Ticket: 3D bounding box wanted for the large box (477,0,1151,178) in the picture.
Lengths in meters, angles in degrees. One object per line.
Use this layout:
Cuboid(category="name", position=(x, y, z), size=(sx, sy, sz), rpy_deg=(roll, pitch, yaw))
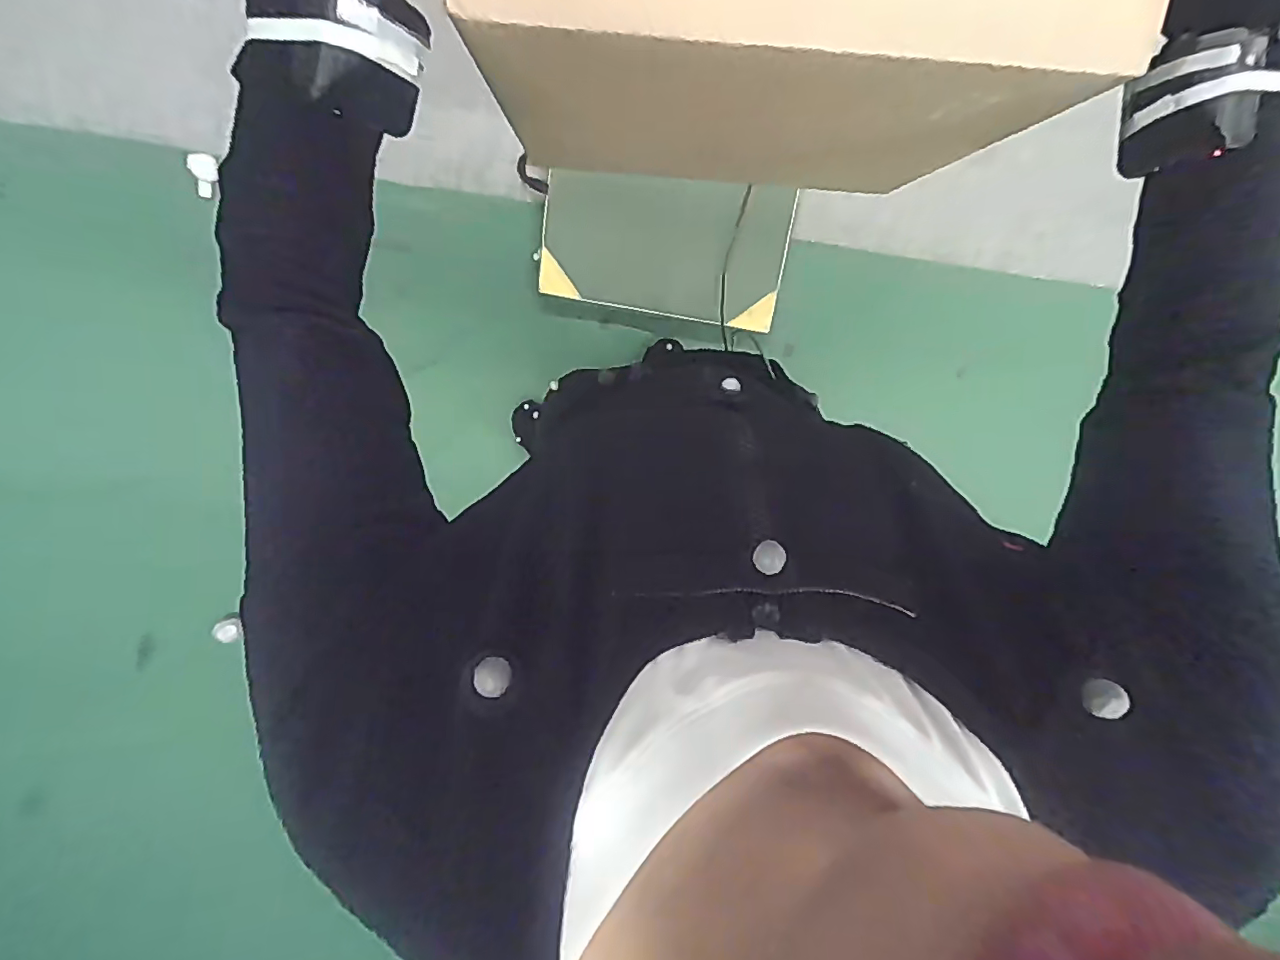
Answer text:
Cuboid(category="large box", position=(0.099, -0.447, 0.414), size=(0.408, 0.320, 0.320), rpy_deg=(2, 107, -4))
